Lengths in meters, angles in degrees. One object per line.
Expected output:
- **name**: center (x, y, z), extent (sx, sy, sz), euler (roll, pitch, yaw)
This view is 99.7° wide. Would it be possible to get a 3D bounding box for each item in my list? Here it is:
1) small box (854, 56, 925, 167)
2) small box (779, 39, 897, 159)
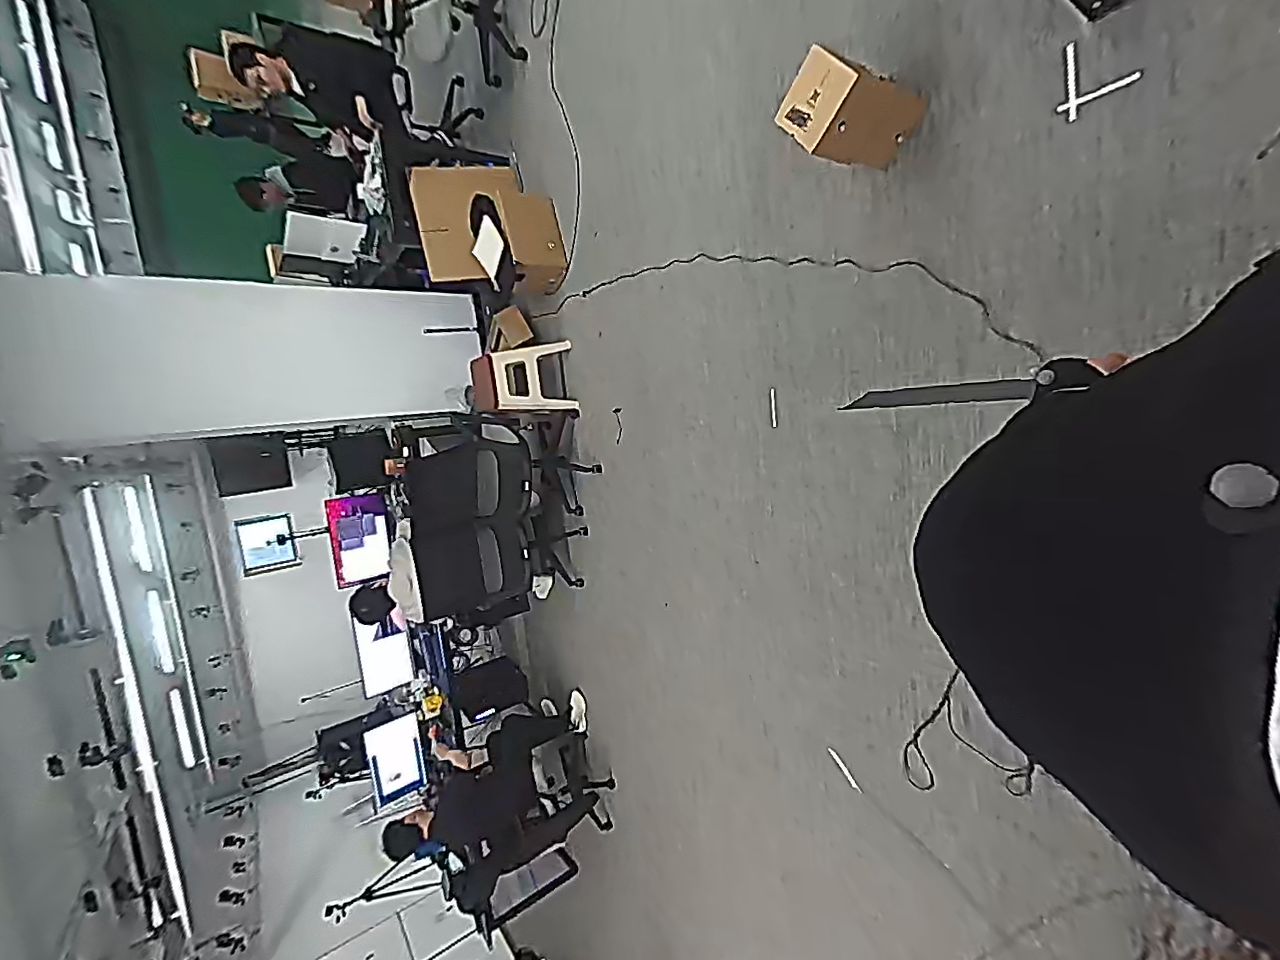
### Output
- **small box**: center (0.614, -0.962, 1.424), extent (0.168, 0.176, 0.179), euler (59, 140, 26)
- **small box**: center (0.485, -0.924, 1.326), extent (0.168, 0.176, 0.179), euler (59, 140, 25)
